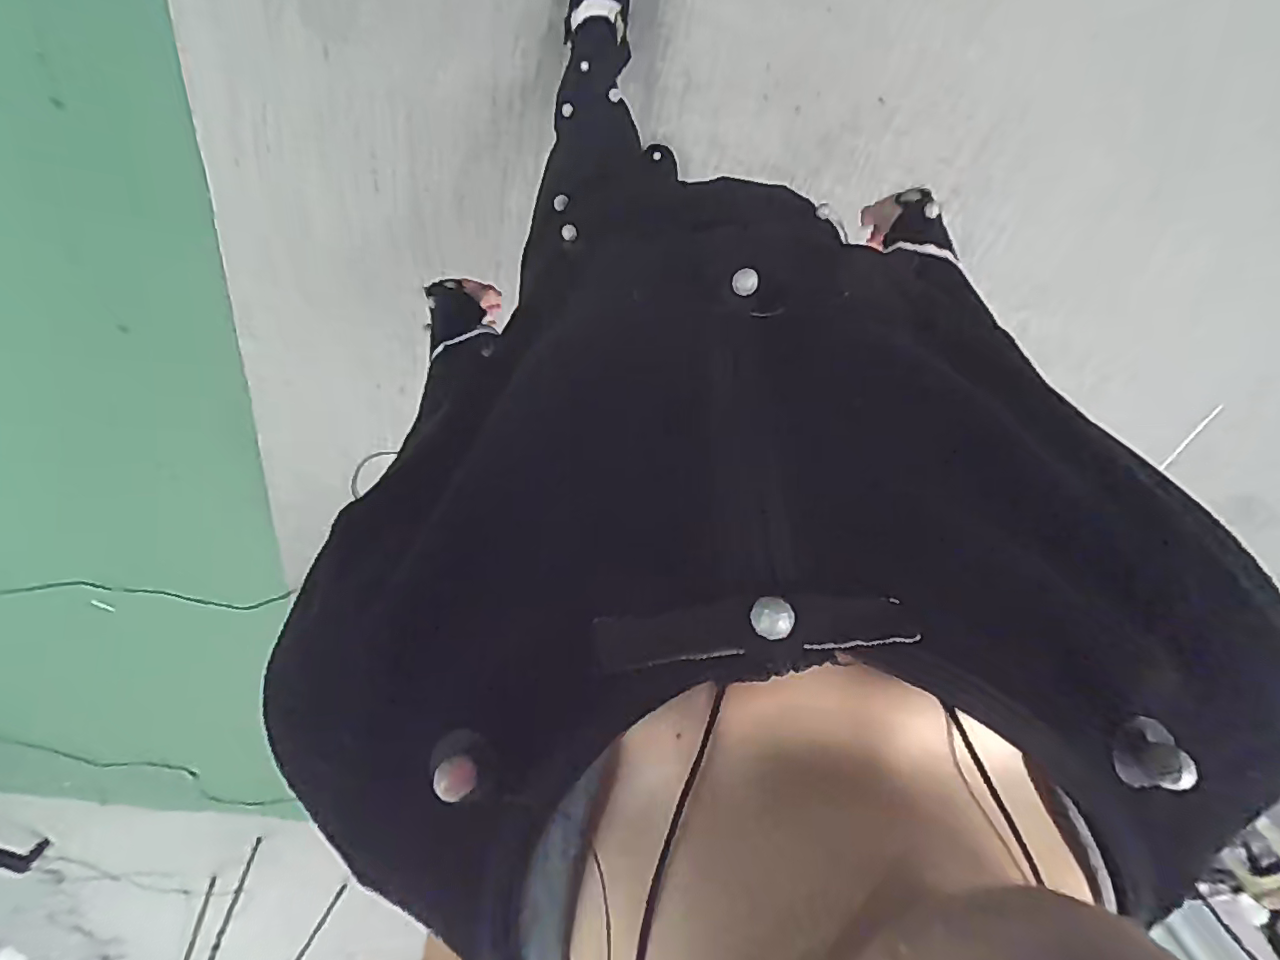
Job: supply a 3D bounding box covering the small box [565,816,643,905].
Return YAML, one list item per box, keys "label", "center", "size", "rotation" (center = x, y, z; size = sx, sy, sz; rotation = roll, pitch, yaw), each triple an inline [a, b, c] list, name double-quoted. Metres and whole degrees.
- label: "small box"
  center: [-0.095, 1.045, 1.477]
  size: [0.179, 0.176, 0.168]
  rotation: [13, 125, -8]

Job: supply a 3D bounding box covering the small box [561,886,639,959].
- label: "small box"
  center: [-0.102, 1.139, 1.345]
  size: [0.168, 0.176, 0.179]
  rotation: [12, 126, -7]
